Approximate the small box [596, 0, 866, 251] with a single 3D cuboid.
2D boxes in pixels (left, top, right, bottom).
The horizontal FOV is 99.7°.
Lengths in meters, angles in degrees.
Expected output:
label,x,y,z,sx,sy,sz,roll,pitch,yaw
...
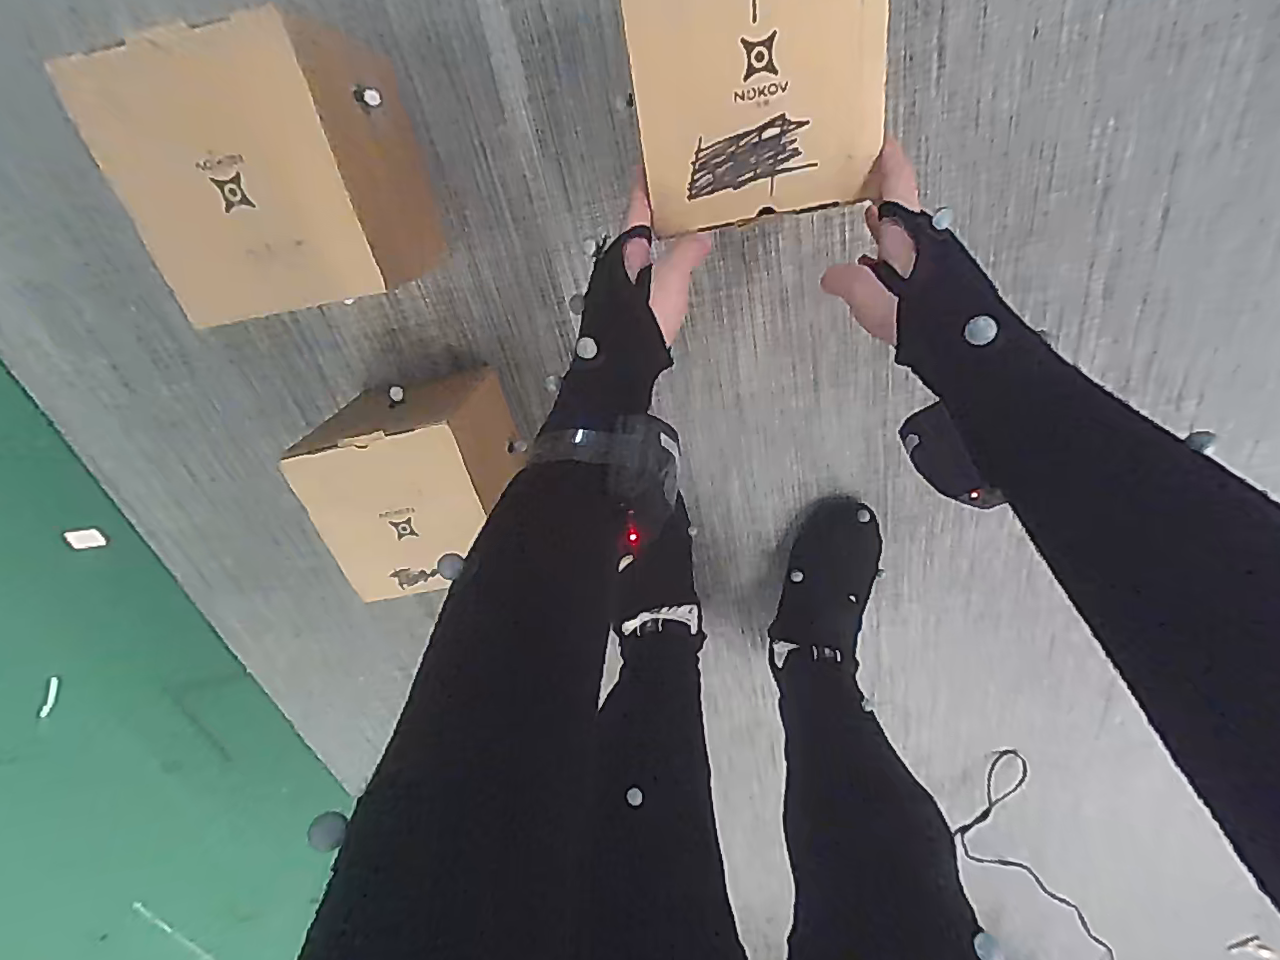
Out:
label,x,y,z,sx,sy,sz,roll,pitch,yaw
small box,0.064,-0.296,0.423,0.168,0.176,0.179,-9,118,5
